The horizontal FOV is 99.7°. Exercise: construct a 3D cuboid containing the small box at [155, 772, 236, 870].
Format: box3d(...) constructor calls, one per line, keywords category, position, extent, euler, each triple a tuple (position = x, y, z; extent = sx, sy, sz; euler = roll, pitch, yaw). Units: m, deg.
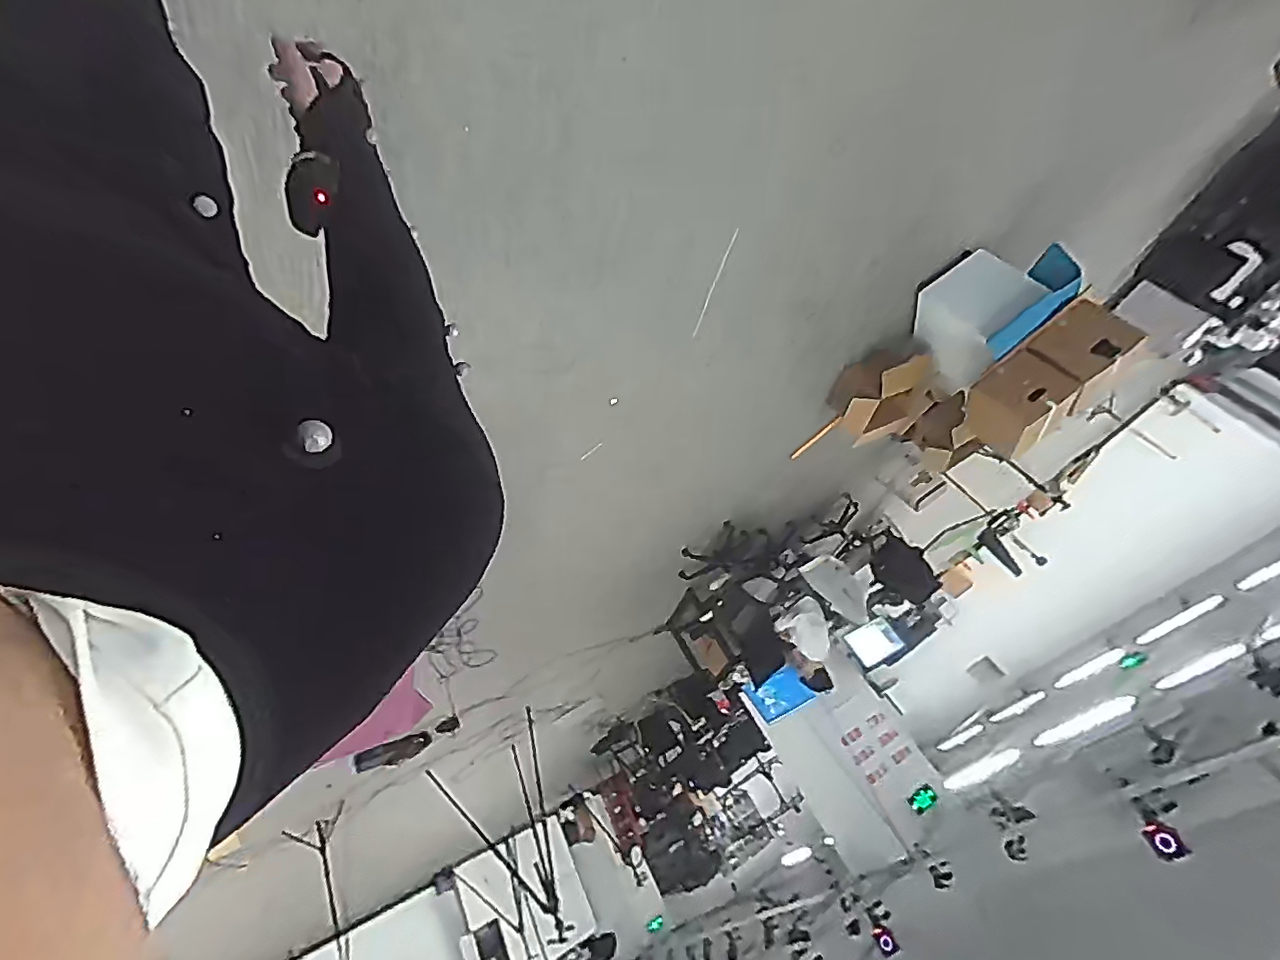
box3d(category="small box", position=(-1.297, 0.985, 1.577), extent=(0.168, 0.176, 0.179), euler=(-8, 141, -35))
